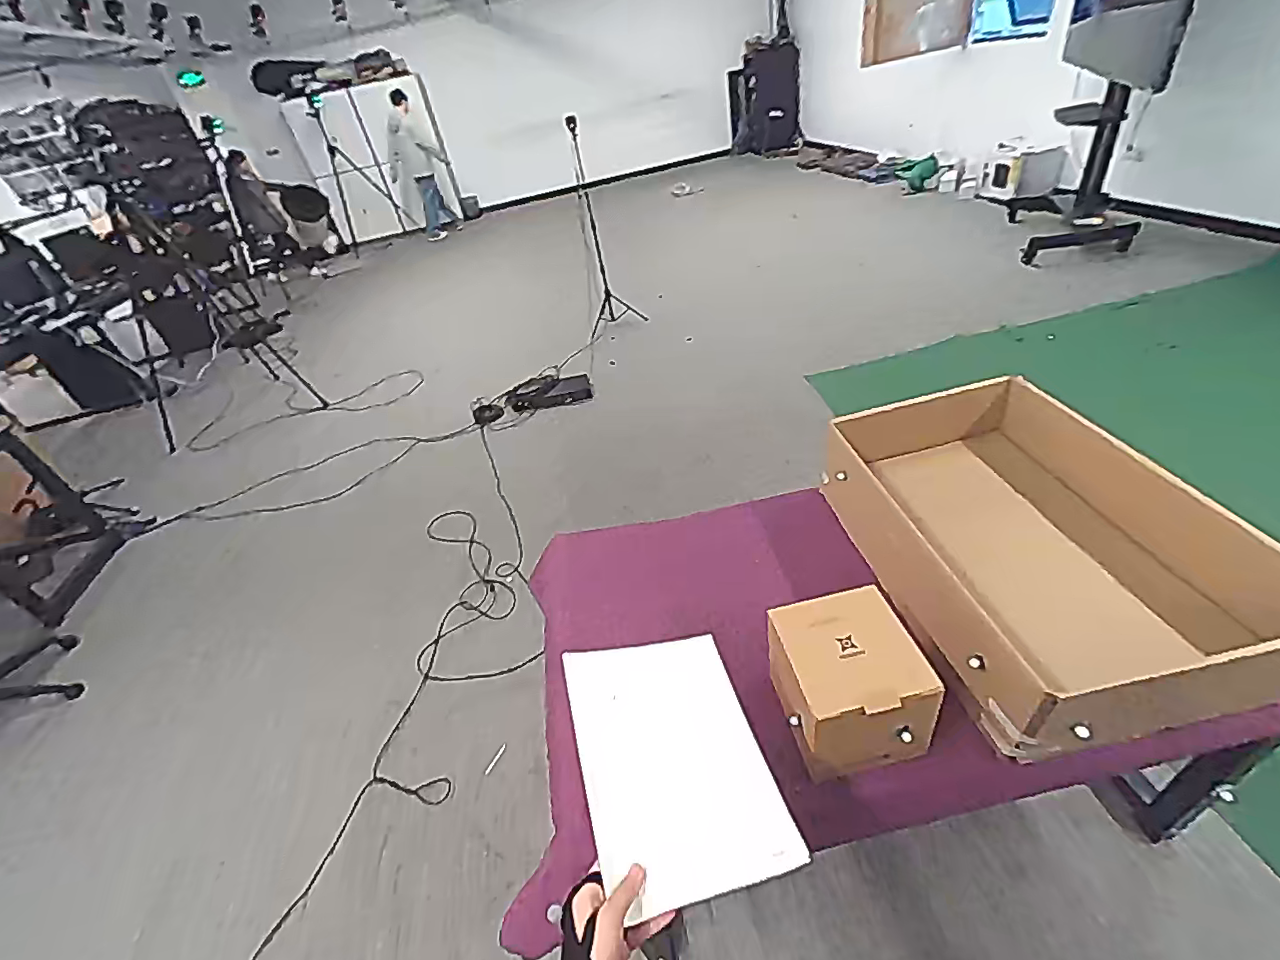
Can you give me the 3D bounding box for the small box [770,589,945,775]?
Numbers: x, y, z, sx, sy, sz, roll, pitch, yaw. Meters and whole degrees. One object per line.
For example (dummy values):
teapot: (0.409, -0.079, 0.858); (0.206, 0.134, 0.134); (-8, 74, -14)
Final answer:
small box: (0.292, 0.289, 0.762); (0.168, 0.176, 0.179); (-13, 36, -1)
